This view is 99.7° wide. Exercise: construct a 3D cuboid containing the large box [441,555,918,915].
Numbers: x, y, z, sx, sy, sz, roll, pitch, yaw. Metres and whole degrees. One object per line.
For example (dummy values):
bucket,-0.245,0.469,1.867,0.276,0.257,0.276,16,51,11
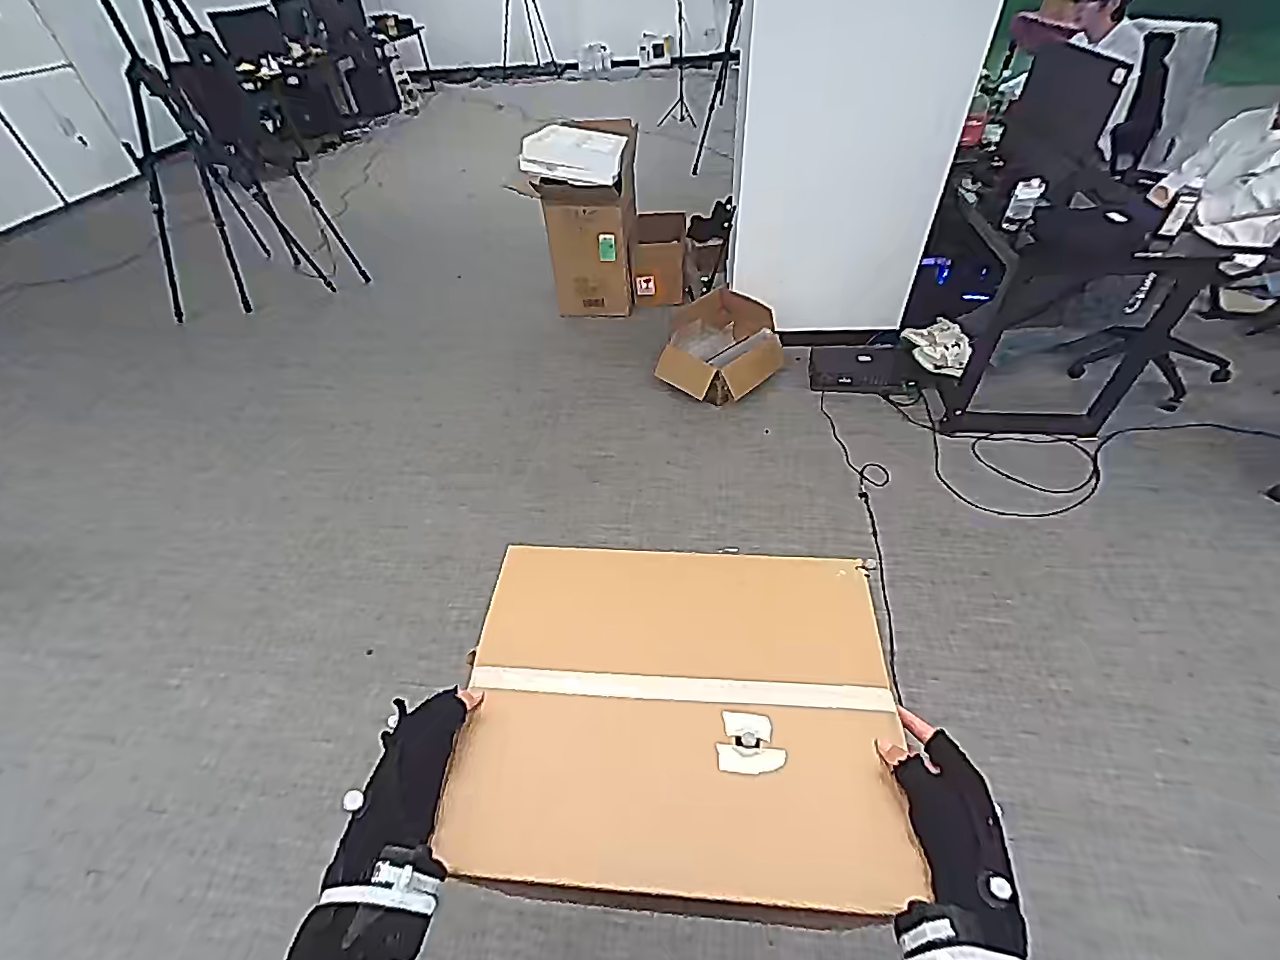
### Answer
large box,0.041,0.308,0.652,0.408,0.320,0.320,2,50,5
